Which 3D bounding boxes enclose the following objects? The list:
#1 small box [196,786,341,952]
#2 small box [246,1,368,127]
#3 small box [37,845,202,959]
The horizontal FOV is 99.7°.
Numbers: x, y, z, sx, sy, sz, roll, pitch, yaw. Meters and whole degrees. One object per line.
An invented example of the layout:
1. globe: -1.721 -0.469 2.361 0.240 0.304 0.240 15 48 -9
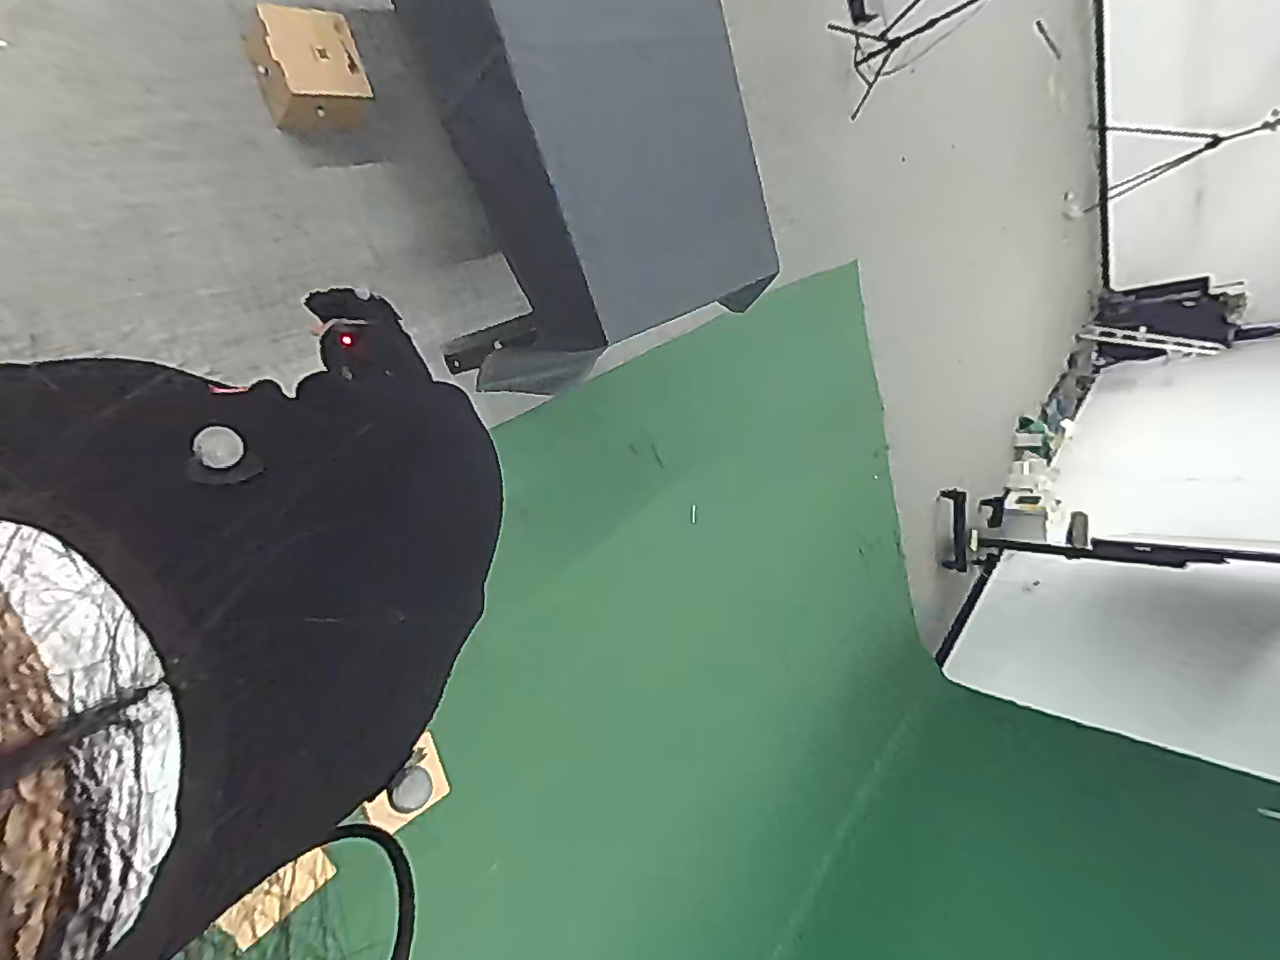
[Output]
1. small box: -0.743 0.761 1.081 0.179 0.176 0.168 -34 114 -36
2. small box: -0.745 -0.910 1.202 0.179 0.176 0.168 -30 111 -37
3. small box: -1.011 0.872 1.064 0.168 0.176 0.179 -40 118 -34
